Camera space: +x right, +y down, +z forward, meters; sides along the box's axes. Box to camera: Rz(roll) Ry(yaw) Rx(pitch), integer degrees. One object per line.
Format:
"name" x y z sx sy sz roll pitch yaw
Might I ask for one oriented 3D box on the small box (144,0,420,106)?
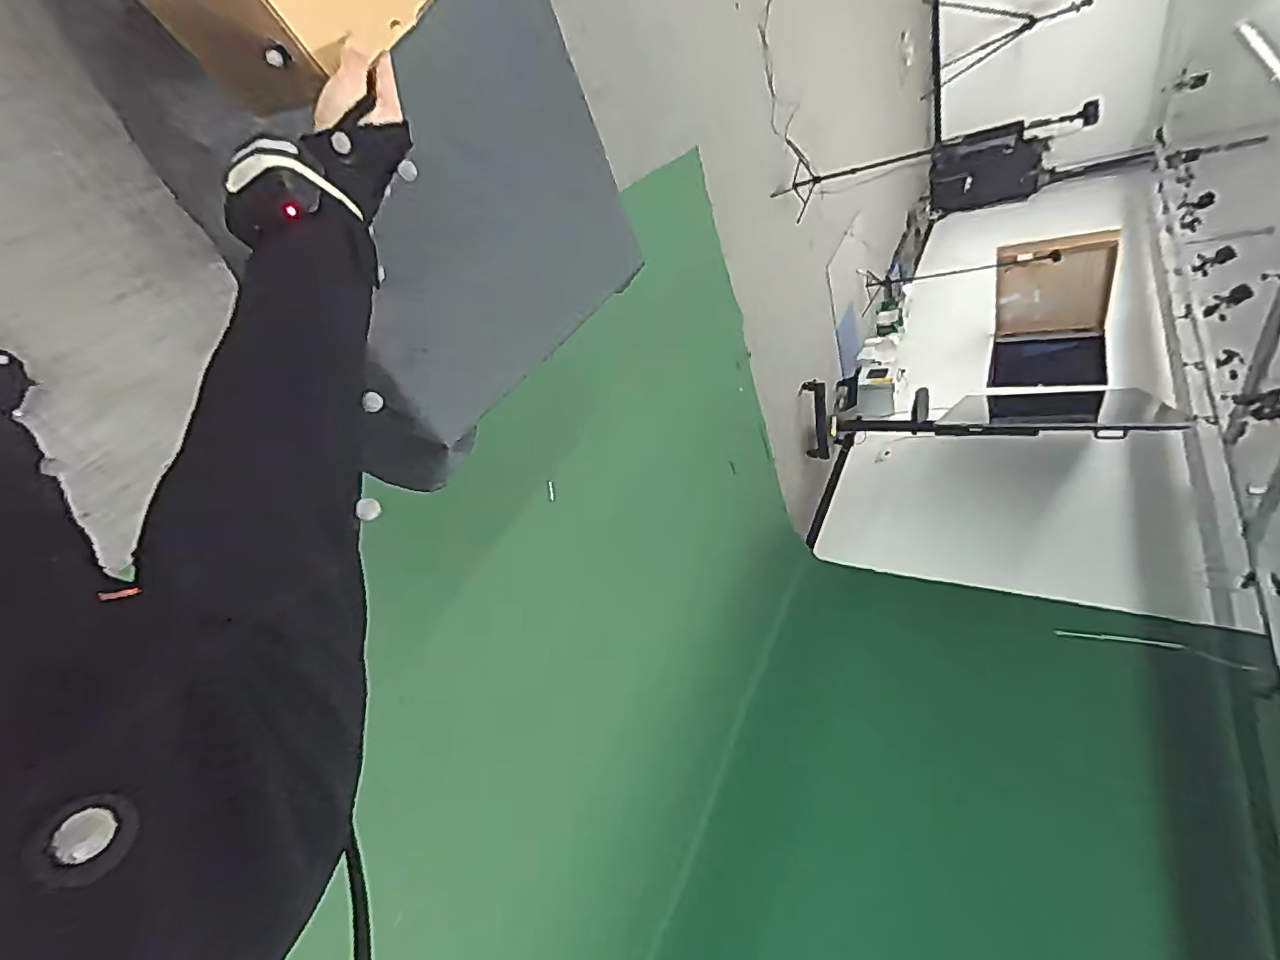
"small box" -0.303 -0.434 0.423 0.168 0.176 0.179 -63 147 -16
